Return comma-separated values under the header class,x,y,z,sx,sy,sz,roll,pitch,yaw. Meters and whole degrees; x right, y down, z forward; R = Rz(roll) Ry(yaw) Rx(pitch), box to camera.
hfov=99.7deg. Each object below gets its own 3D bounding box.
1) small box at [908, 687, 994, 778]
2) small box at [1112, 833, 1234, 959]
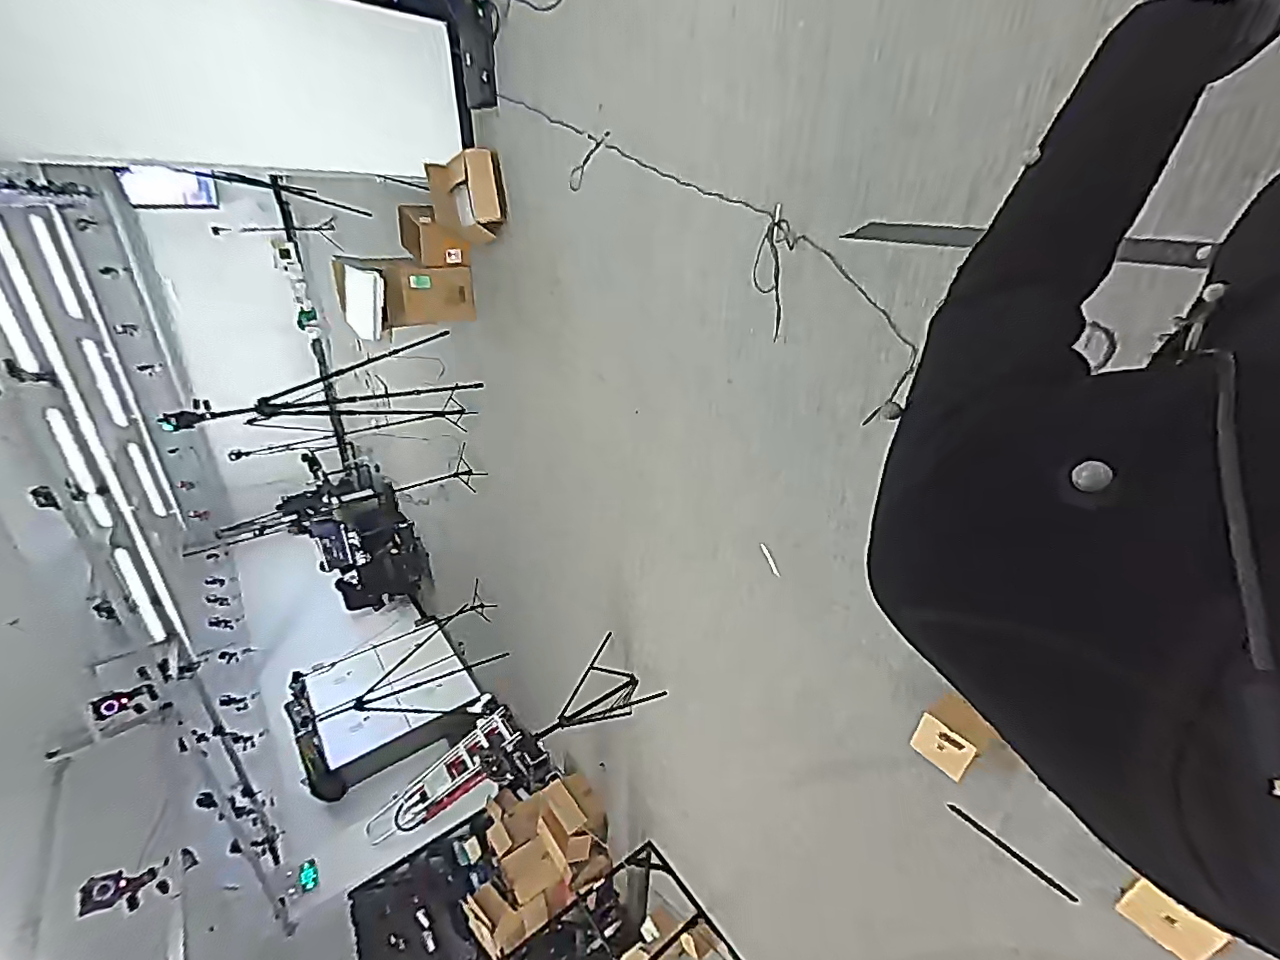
class,x,y,z,sx,sy,sz,roll,pitch,yaw
small box,1.024,0.822,1.776,0.168,0.176,0.179,35,133,42
small box,1.379,1.069,1.398,0.168,0.176,0.179,32,131,42
